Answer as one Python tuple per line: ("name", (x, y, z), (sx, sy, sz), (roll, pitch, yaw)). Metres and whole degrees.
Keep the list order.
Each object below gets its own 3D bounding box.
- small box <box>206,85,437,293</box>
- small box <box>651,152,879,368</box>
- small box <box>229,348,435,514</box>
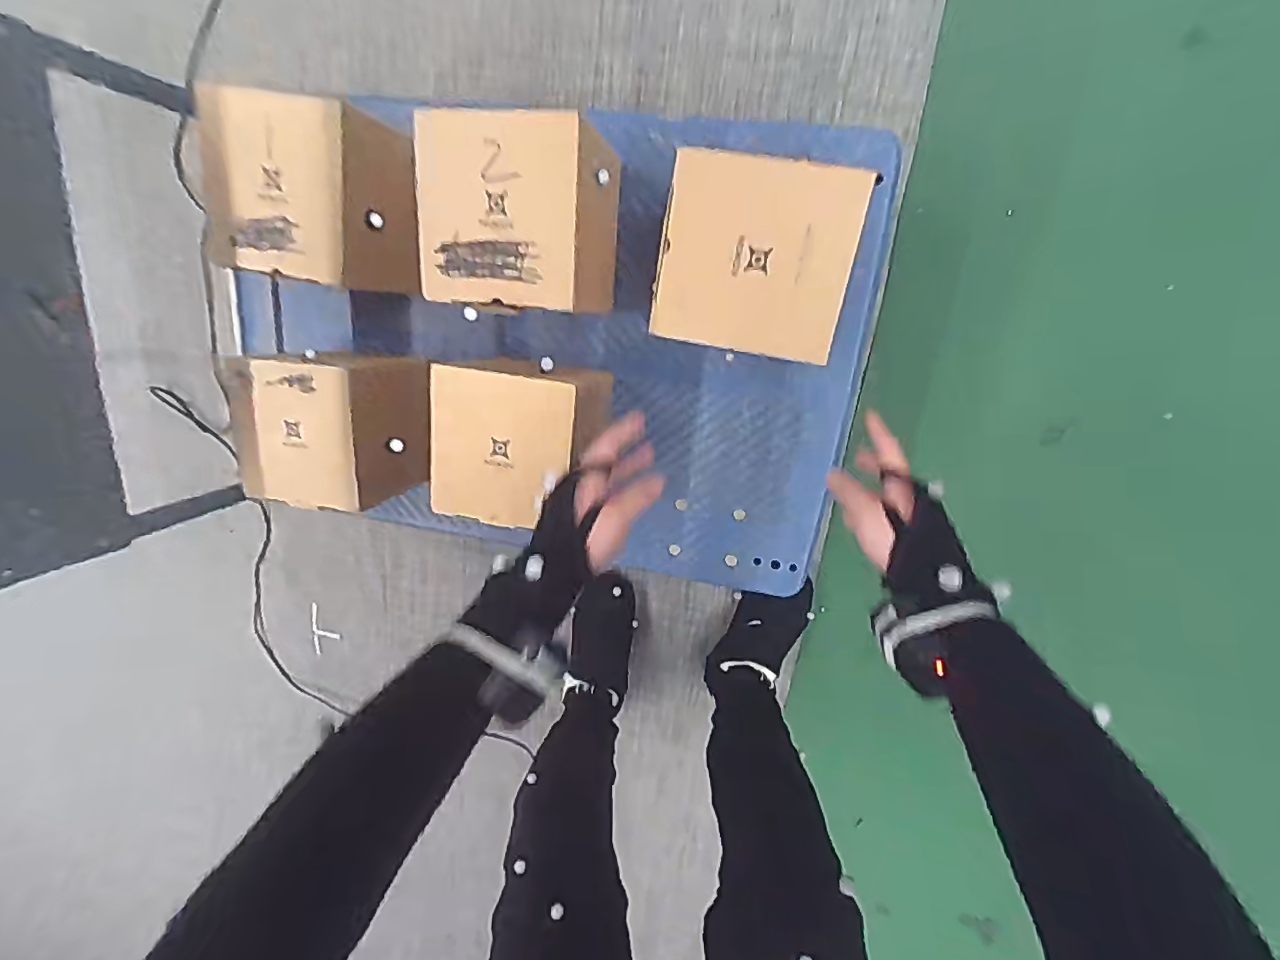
("small box", (-0.359, -0.324, 0.637), (0.168, 0.176, 0.179), (12, 107, 7))
("small box", (0.123, -0.221, 0.571), (0.179, 0.176, 0.168), (13, 109, 8))
("small box", (-0.389, -0.074, 0.715), (0.168, 0.176, 0.179), (8, 108, 9))
